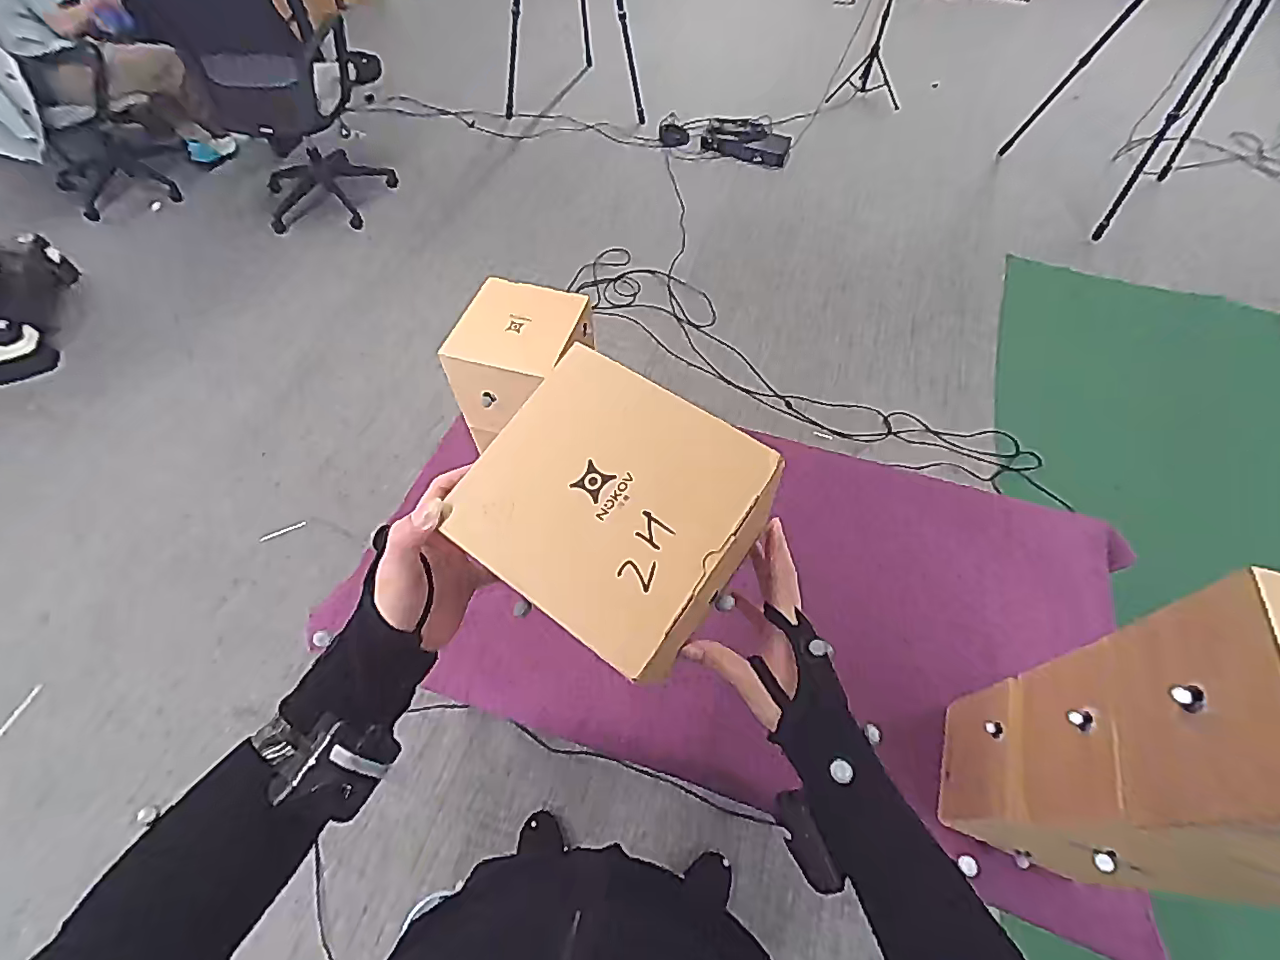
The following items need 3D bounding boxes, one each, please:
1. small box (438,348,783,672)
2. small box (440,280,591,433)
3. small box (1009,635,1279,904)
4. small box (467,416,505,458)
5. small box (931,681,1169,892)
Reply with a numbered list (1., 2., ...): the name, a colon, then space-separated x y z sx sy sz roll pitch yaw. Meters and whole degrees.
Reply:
1. small box: -0.013 0.036 0.429 0.179 0.176 0.168 34 77 18
2. small box: -0.177 -0.177 0.845 0.168 0.176 0.179 14 58 8
3. small box: 0.512 0.293 0.556 0.168 0.176 0.179 19 59 13
4. small box: -0.182 -0.096 0.985 0.179 0.176 0.168 13 58 8
5. small box: 0.507 0.385 0.691 0.179 0.176 0.168 20 58 11
